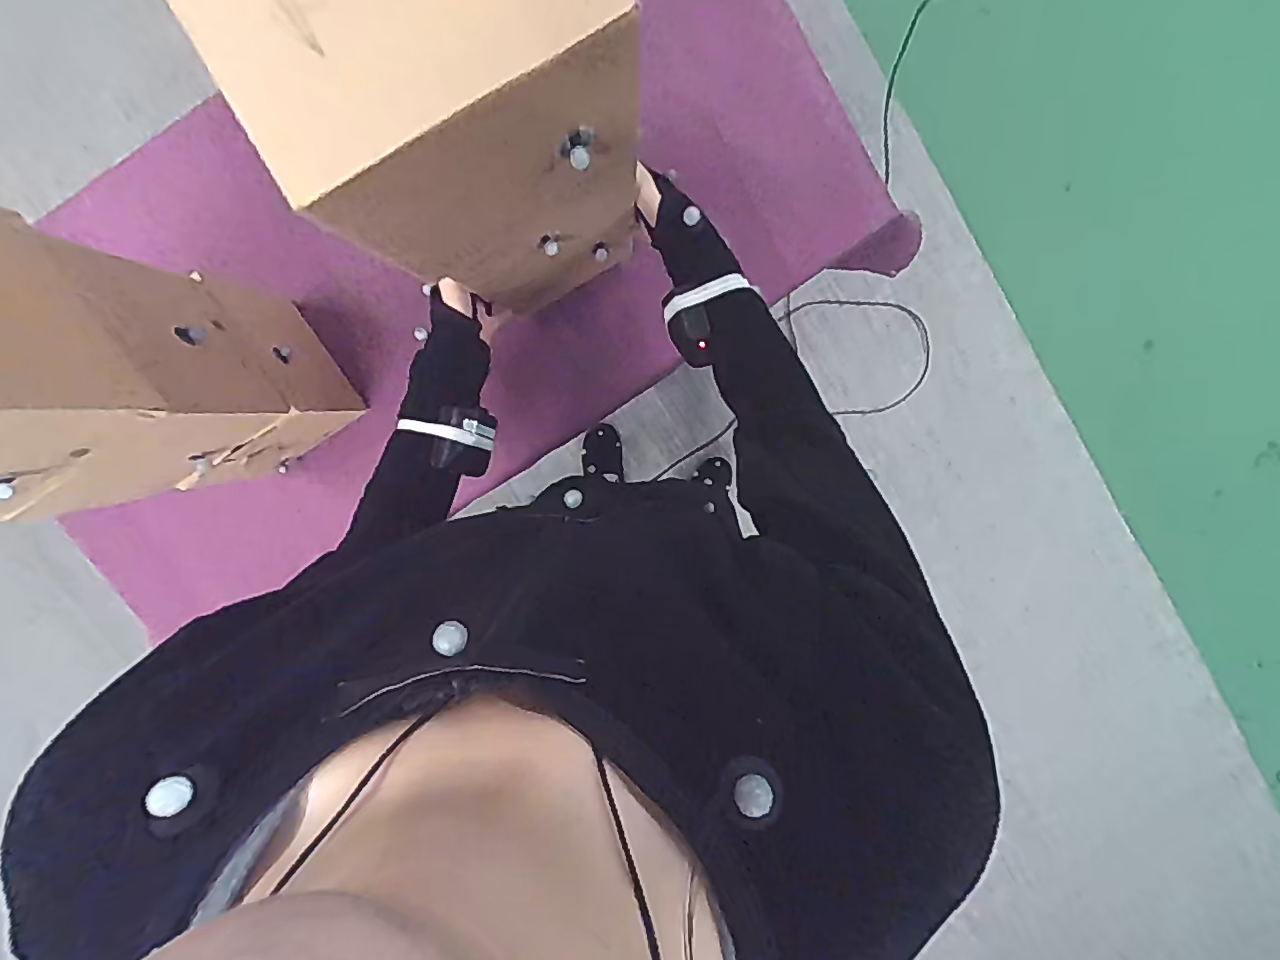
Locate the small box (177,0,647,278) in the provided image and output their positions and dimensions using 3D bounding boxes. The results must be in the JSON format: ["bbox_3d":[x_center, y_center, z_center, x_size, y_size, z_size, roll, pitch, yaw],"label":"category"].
[{"bbox_3d":[-0.111,-0.239,0.302,0.179,0.176,0.168,-28,99,4],"label":"small box"}]

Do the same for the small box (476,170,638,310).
[{"bbox_3d":[-0.118,-0.317,0.621,0.179,0.176,0.168,-29,99,4],"label":"small box"}]

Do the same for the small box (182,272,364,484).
[{"bbox_3d":[-0.485,-0.119,0.665,0.168,0.176,0.179,-33,97,2],"label":"small box"}]

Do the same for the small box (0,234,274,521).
[{"bbox_3d":[-0.489,-0.088,0.503,0.179,0.176,0.168,-32,97,2],"label":"small box"}]

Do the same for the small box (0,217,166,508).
[{"bbox_3d":[-0.478,-0.076,0.340,0.168,0.176,0.179,-33,98,3],"label":"small box"}]
